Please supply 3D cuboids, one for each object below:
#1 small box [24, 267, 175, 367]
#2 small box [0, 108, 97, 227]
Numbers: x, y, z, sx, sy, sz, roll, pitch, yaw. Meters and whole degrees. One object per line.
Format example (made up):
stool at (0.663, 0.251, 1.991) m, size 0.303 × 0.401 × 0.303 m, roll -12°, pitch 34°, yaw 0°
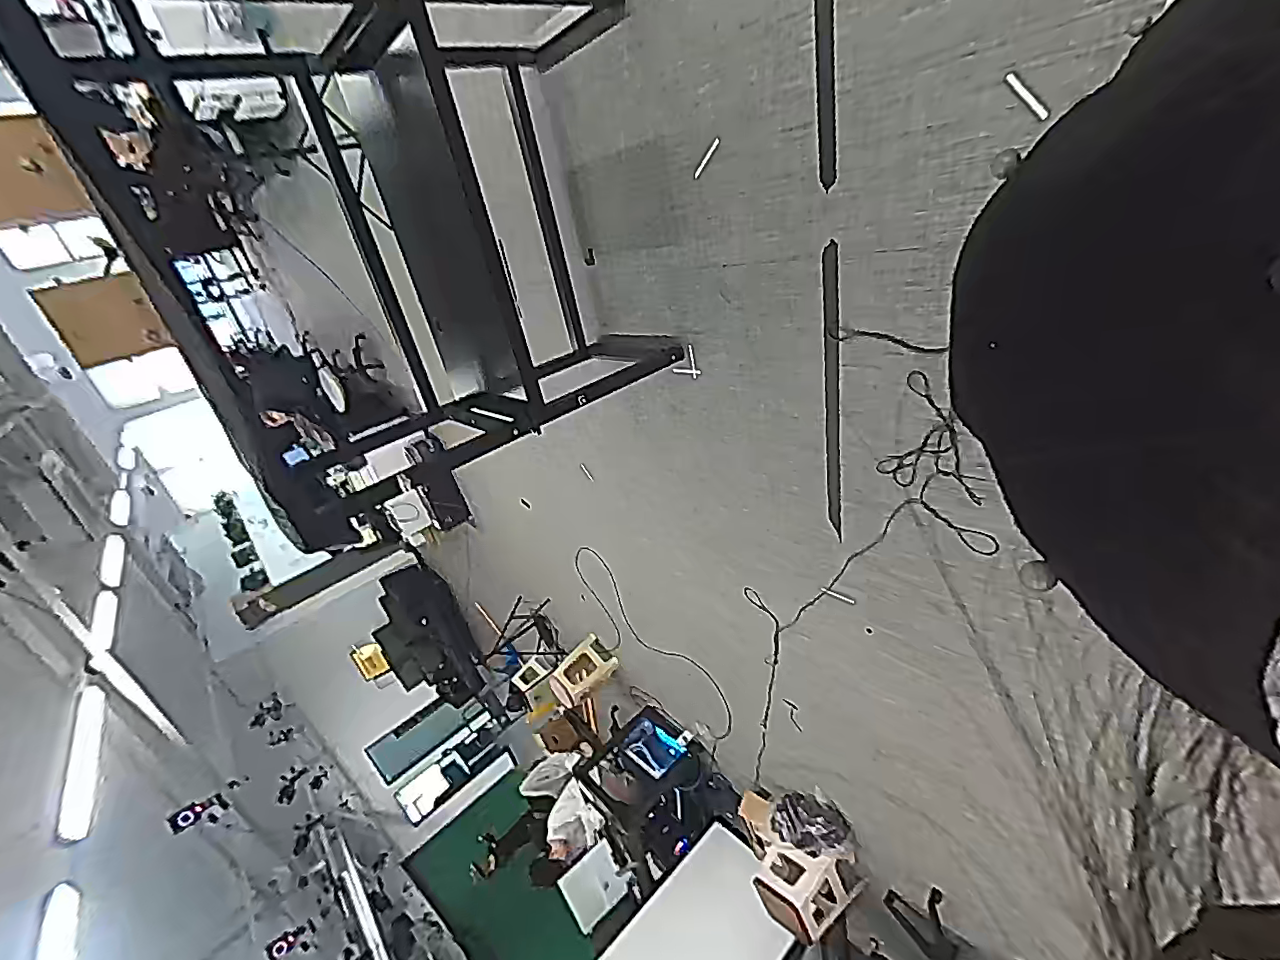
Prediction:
small box at (-1.137, -0.353, 1.158) m, size 0.179 × 0.176 × 0.168 m, roll 22°, pitch 133°, yaw 48°
small box at (-1.191, -0.592, 1.033) m, size 0.179 × 0.176 × 0.168 m, roll 21°, pitch 134°, yaw 46°
